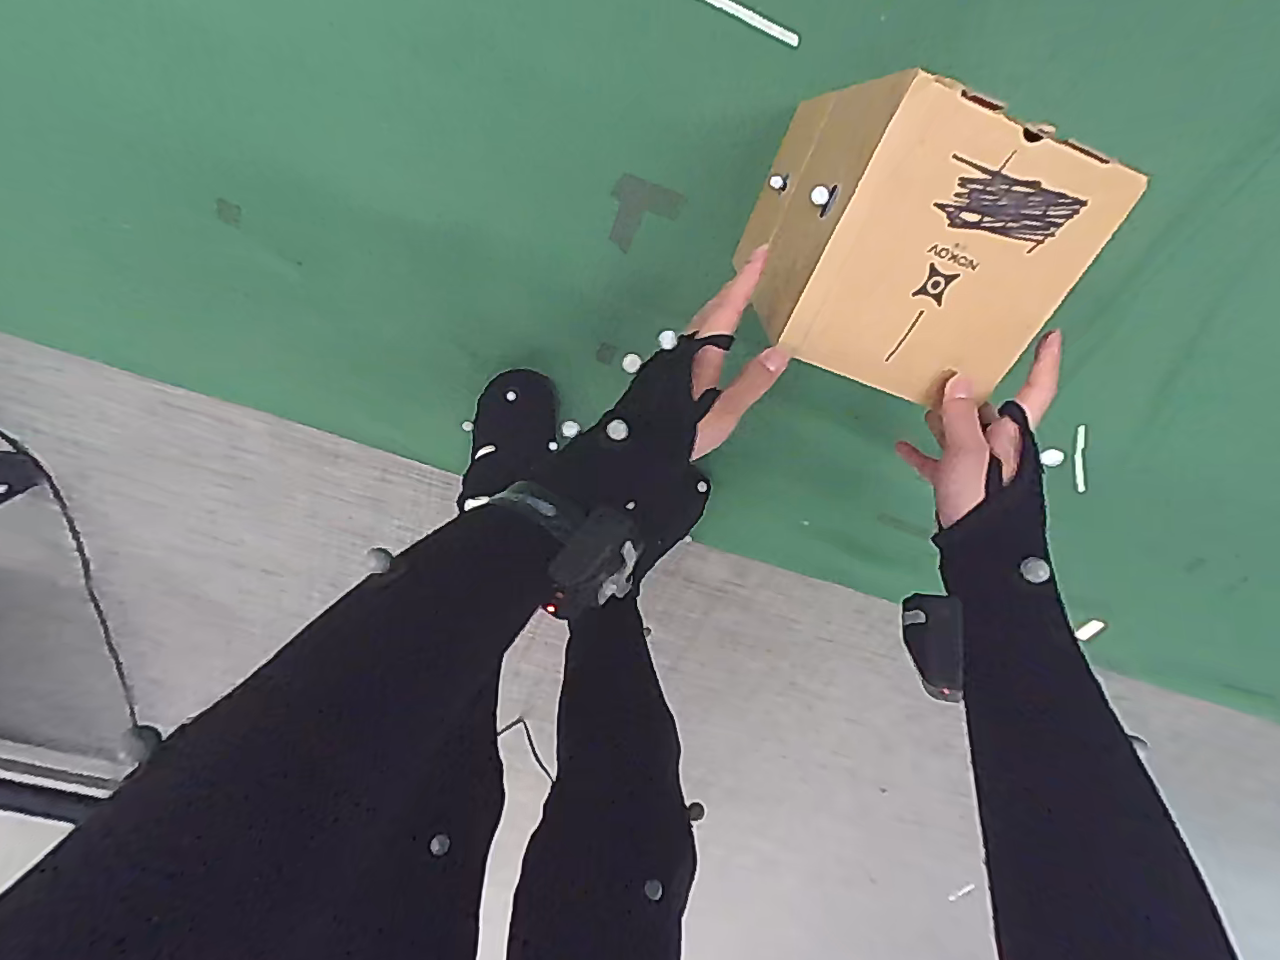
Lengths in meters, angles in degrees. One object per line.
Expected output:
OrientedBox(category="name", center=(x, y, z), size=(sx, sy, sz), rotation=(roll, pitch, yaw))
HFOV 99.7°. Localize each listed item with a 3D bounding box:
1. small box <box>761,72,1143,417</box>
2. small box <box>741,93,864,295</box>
OrientedBox(category="small box", center=(0.212, -0.184, 0.433), size=(0.168, 0.176, 0.179), rotation=(19, 121, -8))
OrientedBox(category="small box", center=(0.218, -0.271, 0.572), size=(0.168, 0.176, 0.179), rotation=(20, 121, -9))
